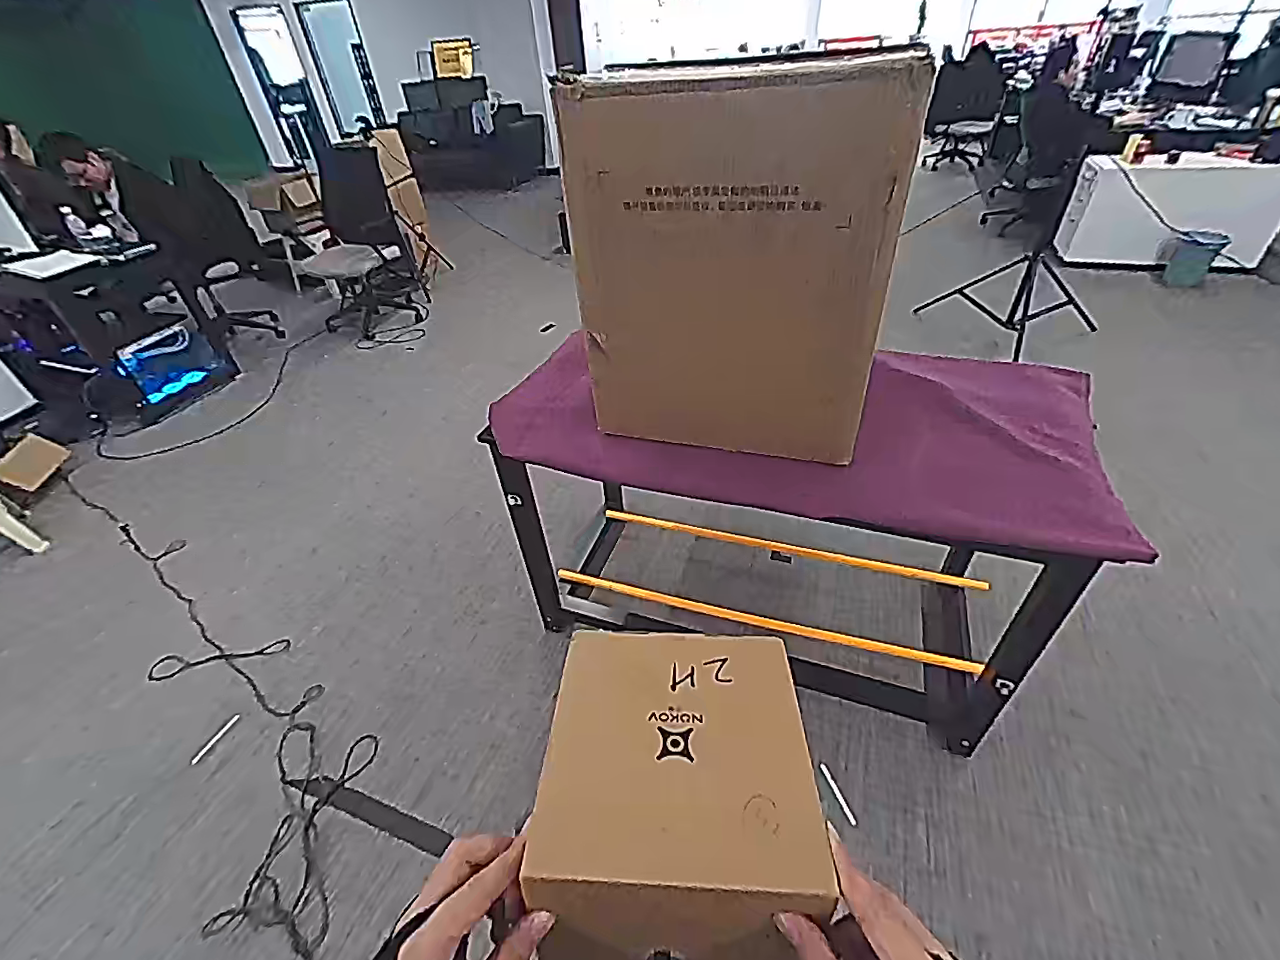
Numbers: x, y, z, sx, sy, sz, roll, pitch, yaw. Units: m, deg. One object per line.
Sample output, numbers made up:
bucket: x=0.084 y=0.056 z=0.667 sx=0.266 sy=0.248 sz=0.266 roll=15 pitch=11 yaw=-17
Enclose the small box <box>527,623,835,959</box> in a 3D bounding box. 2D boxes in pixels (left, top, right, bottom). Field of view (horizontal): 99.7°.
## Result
small box: x=0.027 y=0.229 z=0.391 sx=0.168 sy=0.176 sz=0.179 roll=1 pitch=30 yaw=2
